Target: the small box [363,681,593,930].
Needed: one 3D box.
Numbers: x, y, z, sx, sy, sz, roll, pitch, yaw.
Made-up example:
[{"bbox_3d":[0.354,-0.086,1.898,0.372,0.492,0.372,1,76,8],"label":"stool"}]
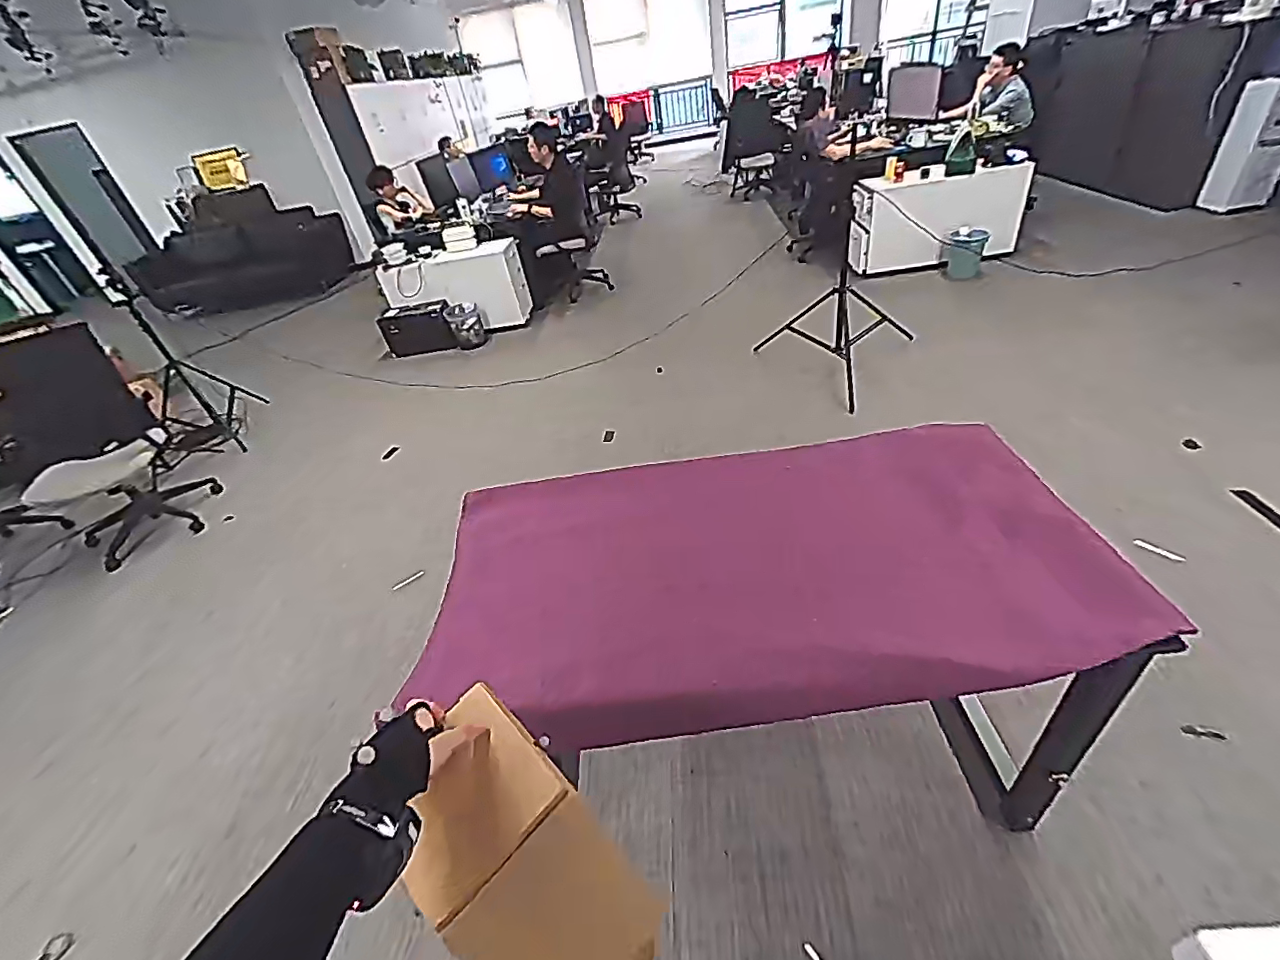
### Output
[{"bbox_3d":[-0.178,0.382,0.640,0.179,0.176,0.168,31,60,31],"label":"small box"}]
